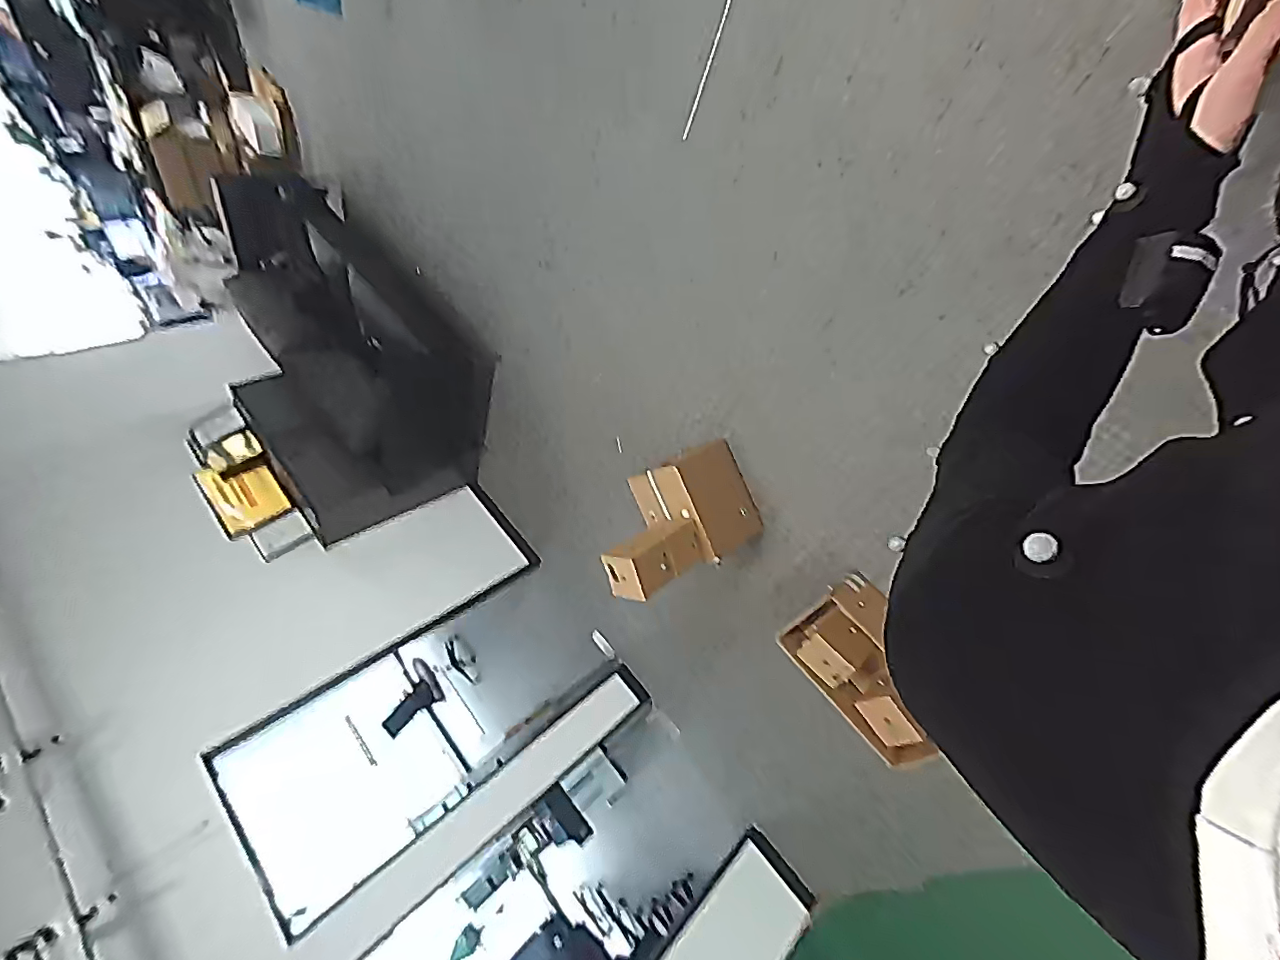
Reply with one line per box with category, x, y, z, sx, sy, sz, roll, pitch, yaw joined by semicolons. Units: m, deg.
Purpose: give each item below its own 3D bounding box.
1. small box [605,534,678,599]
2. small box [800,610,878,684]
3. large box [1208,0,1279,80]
small box;0.008;0.304;1.947;0.179;0.176;0.168;-2;111;48
small box;0.738;0.609;2.000;0.179;0.176;0.168;44;139;21
large box;1.030;-0.813;0.707;0.408;0.320;0.320;-4;111;49
